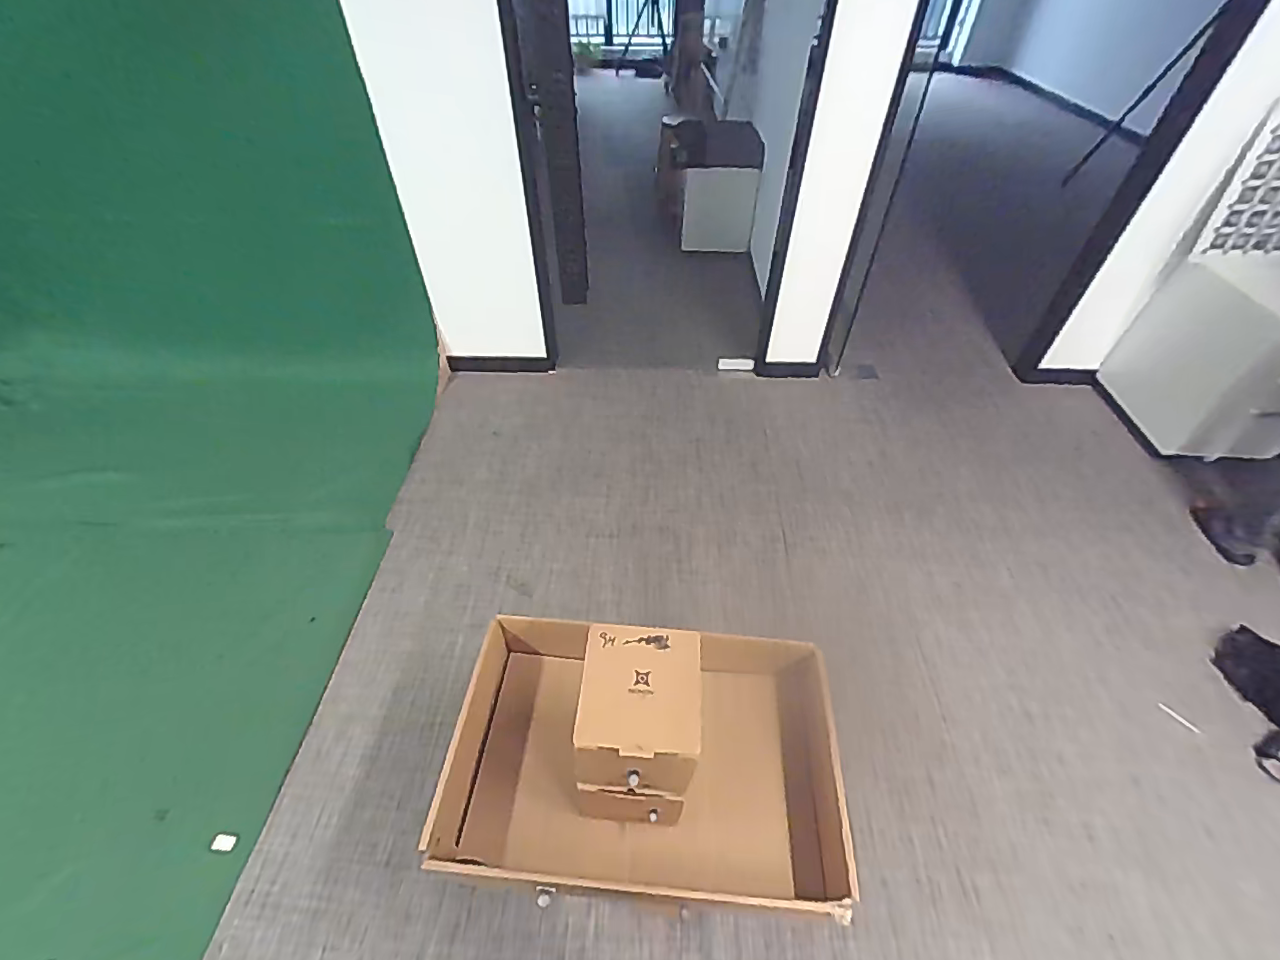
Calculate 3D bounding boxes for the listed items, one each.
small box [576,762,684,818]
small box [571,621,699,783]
[{"bbox_3d":[-0.011,0.453,0.919,0.168,0.176,0.179,4,45,1],"label":"small box"},{"bbox_3d":[-0.003,0.334,0.806,0.168,0.176,0.179,5,47,1],"label":"small box"}]
